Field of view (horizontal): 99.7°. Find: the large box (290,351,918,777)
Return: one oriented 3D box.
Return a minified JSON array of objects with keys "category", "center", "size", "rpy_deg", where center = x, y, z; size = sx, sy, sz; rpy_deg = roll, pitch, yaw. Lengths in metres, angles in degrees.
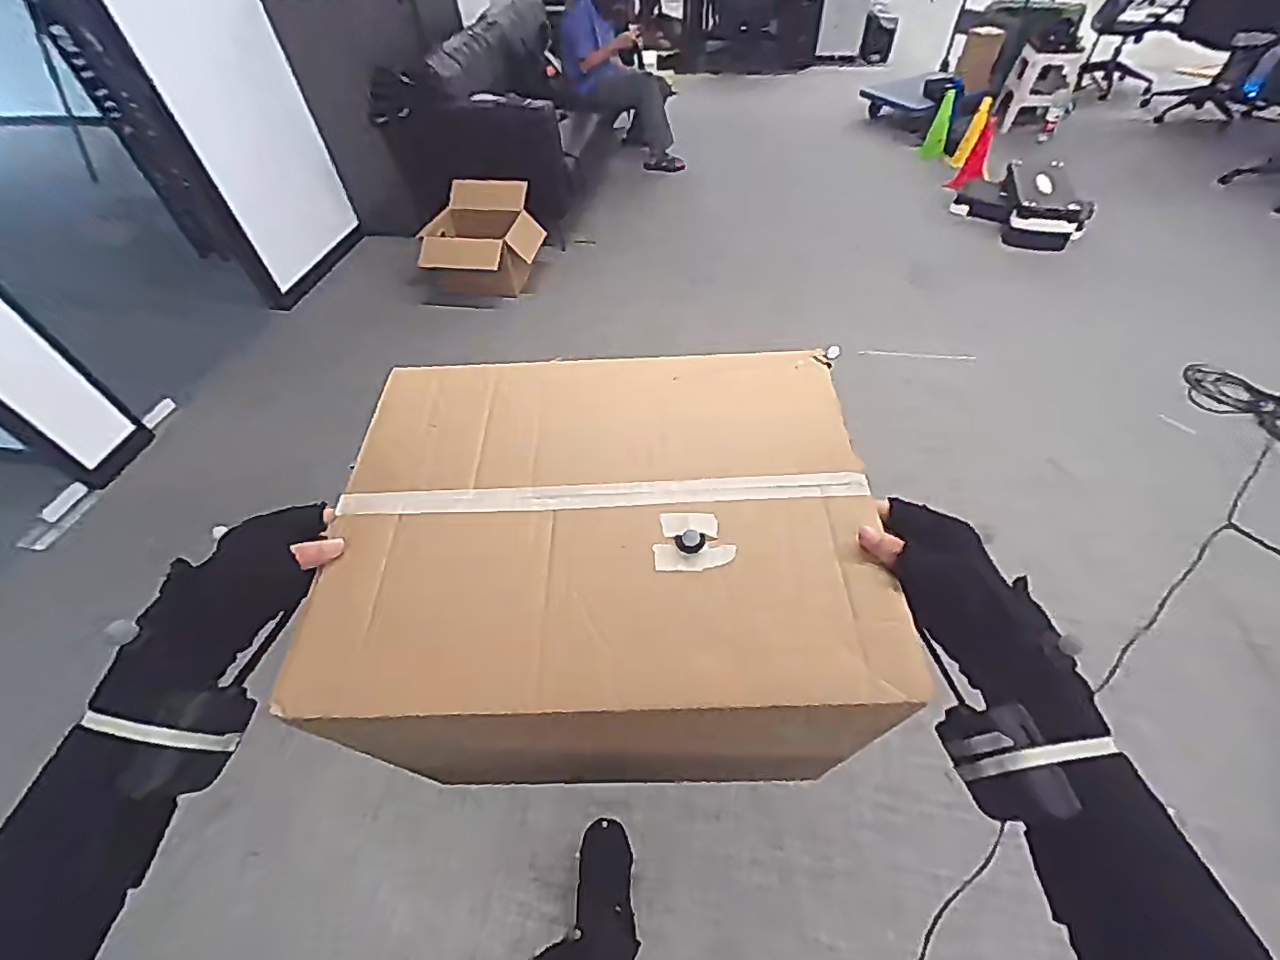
[{"category":"large box","center":[-0.024,0.097,0.543],"size":[0.408,0.320,0.320],"rpy_deg":[-2,55,1]}]
